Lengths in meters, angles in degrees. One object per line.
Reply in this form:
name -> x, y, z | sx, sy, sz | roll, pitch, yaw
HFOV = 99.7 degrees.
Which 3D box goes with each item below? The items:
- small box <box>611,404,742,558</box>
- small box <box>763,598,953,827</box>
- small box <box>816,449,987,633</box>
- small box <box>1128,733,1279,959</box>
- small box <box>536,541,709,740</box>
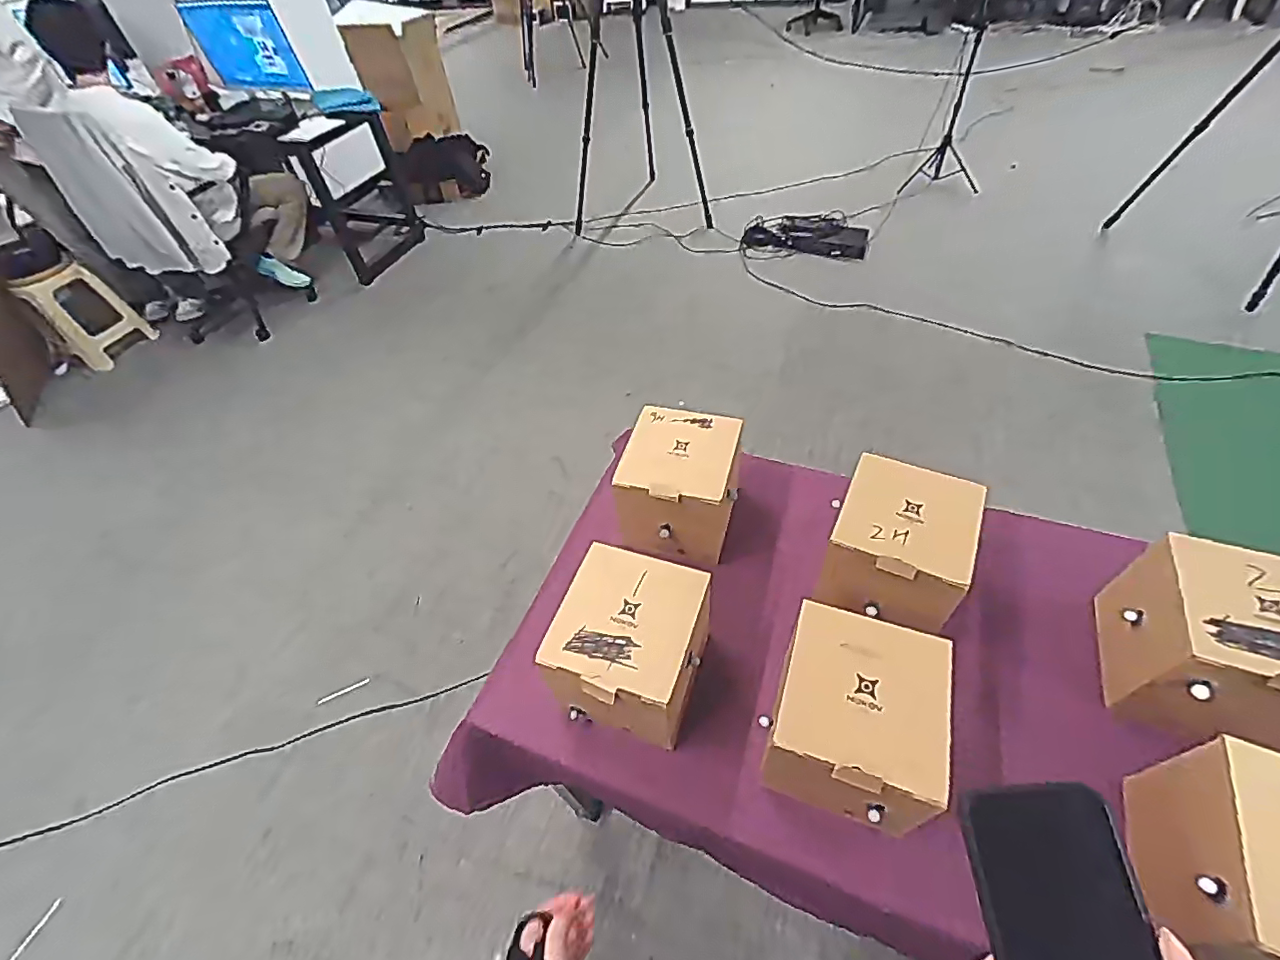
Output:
small box -> 0.067, 0.004, 0.881 | 0.168, 0.176, 0.179 | 11, 53, 15
small box -> 0.246, 0.273, 0.633 | 0.168, 0.176, 0.179 | 14, 52, 17
small box -> 0.363, 0.091, 0.771 | 0.168, 0.176, 0.179 | 19, 55, 22
small box -> 0.598, 0.376, 0.502 | 0.168, 0.176, 0.179 | 18, 54, 21
small box -> -0.010, 0.213, 0.712 | 0.168, 0.176, 0.179 | 13, 51, 17
